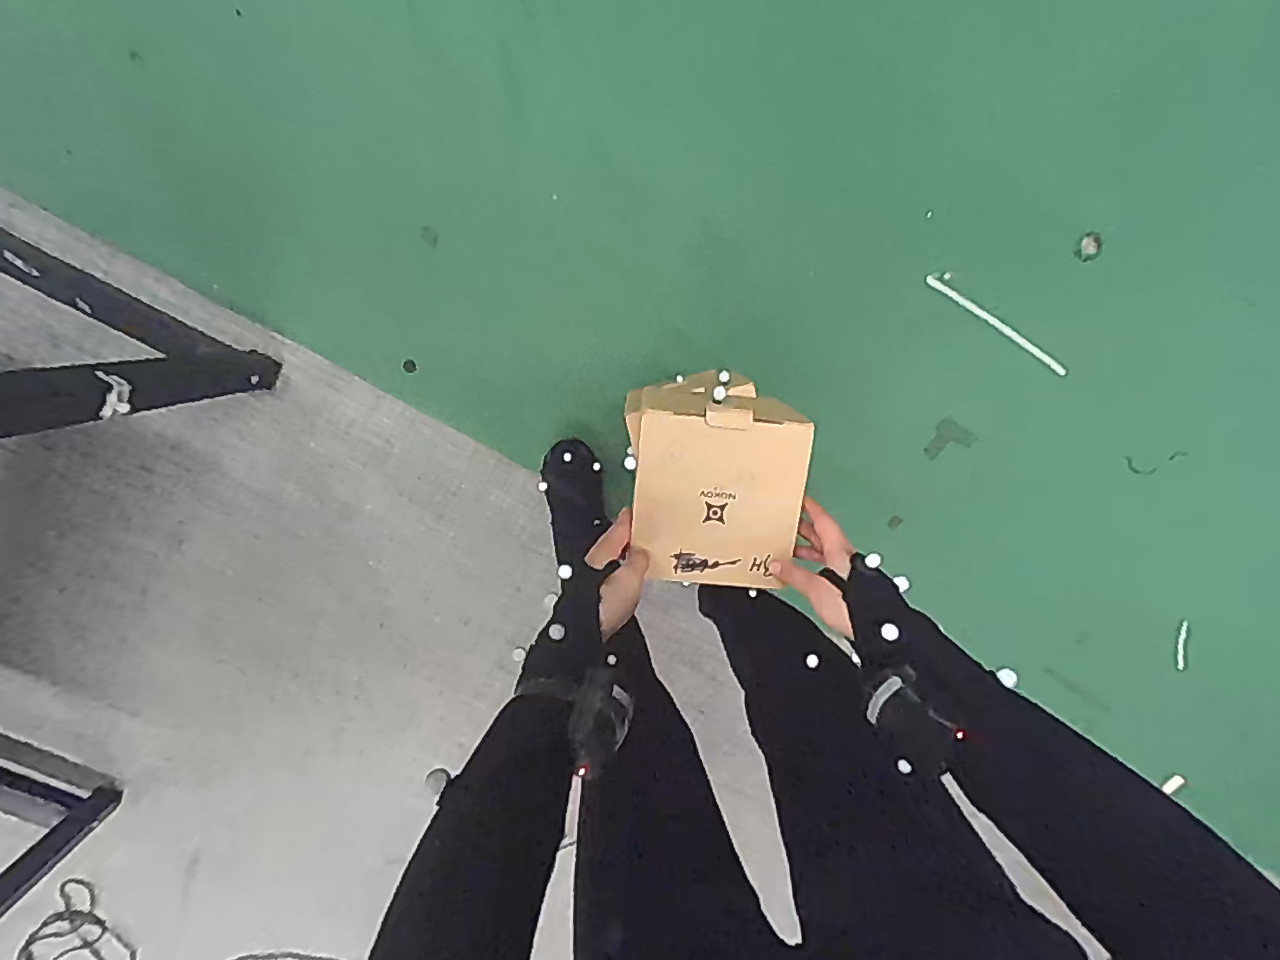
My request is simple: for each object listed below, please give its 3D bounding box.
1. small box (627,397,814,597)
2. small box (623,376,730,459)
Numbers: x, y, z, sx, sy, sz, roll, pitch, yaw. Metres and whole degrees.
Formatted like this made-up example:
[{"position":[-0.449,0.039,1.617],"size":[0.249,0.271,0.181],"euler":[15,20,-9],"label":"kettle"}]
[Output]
[{"position":[0.075,0.007,0.600],"size":[0.168,0.176,0.179],"euler":[5,106,0],"label":"small box"},{"position":[0.074,-0.067,0.921],"size":[0.168,0.176,0.179],"euler":[-13,106,4],"label":"small box"}]
